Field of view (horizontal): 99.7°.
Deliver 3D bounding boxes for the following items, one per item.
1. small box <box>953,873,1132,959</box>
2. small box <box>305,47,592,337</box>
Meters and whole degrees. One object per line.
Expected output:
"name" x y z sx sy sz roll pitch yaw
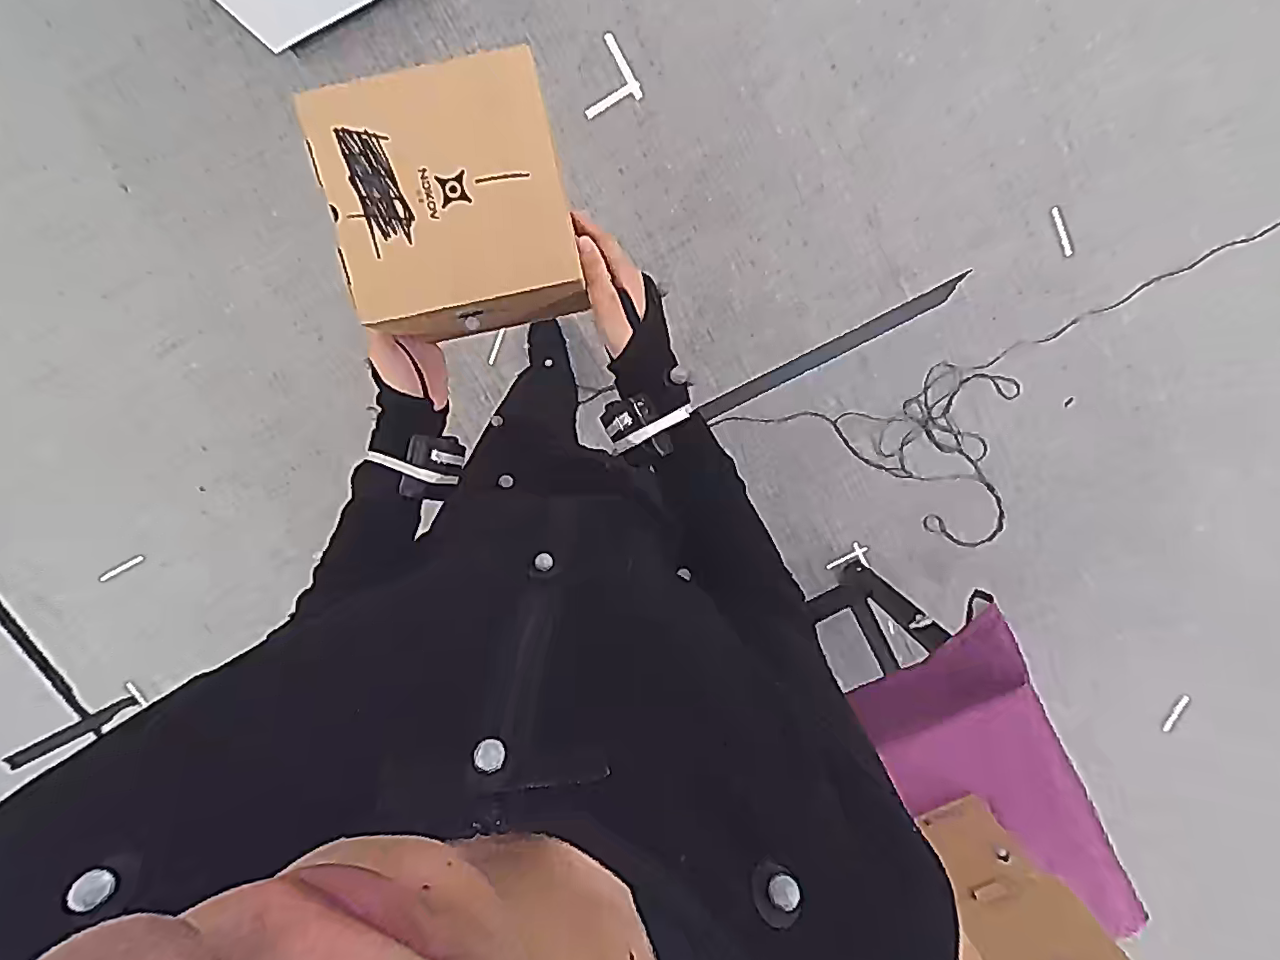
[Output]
"small box" 0.597 0.718 0.778 0.179 0.176 0.168 -20 100 3
"small box" -0.147 -0.231 0.483 0.179 0.176 0.168 -12 100 -1
